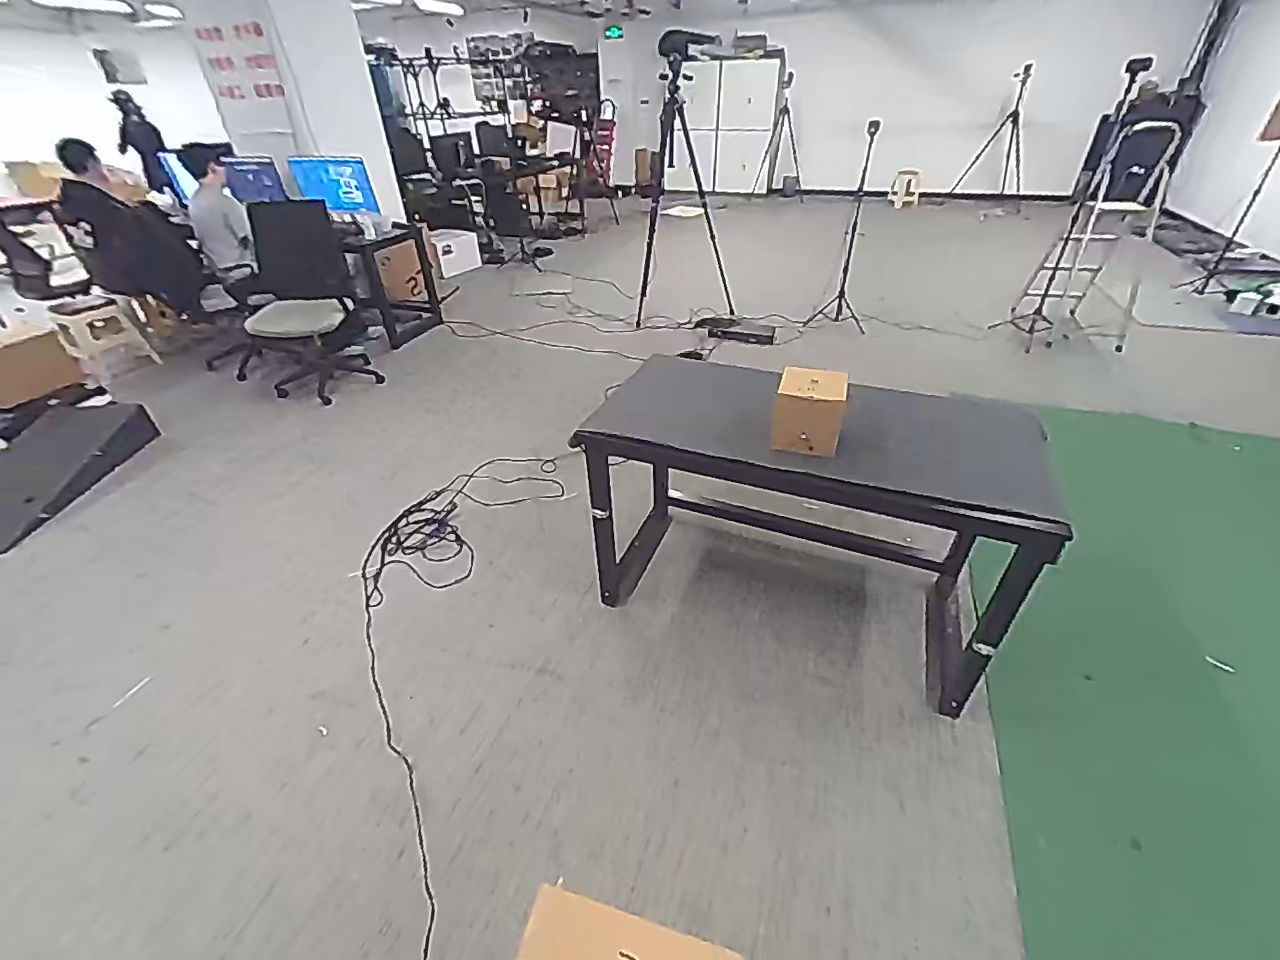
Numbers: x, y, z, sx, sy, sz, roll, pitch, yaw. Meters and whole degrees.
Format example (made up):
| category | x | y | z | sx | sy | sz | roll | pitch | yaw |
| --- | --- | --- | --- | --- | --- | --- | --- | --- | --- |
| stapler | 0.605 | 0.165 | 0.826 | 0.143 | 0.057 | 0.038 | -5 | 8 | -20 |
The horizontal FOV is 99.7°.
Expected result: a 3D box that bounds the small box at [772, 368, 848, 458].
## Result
| category | x | y | z | sx | sy | sz | roll | pitch | yaw |
| --- | --- | --- | --- | --- | --- | --- | --- | --- | --- |
| small box | 0.450 | -0.181 | 1.441 | 0.168 | 0.176 | 0.179 | 9 | 36 | 17 |
